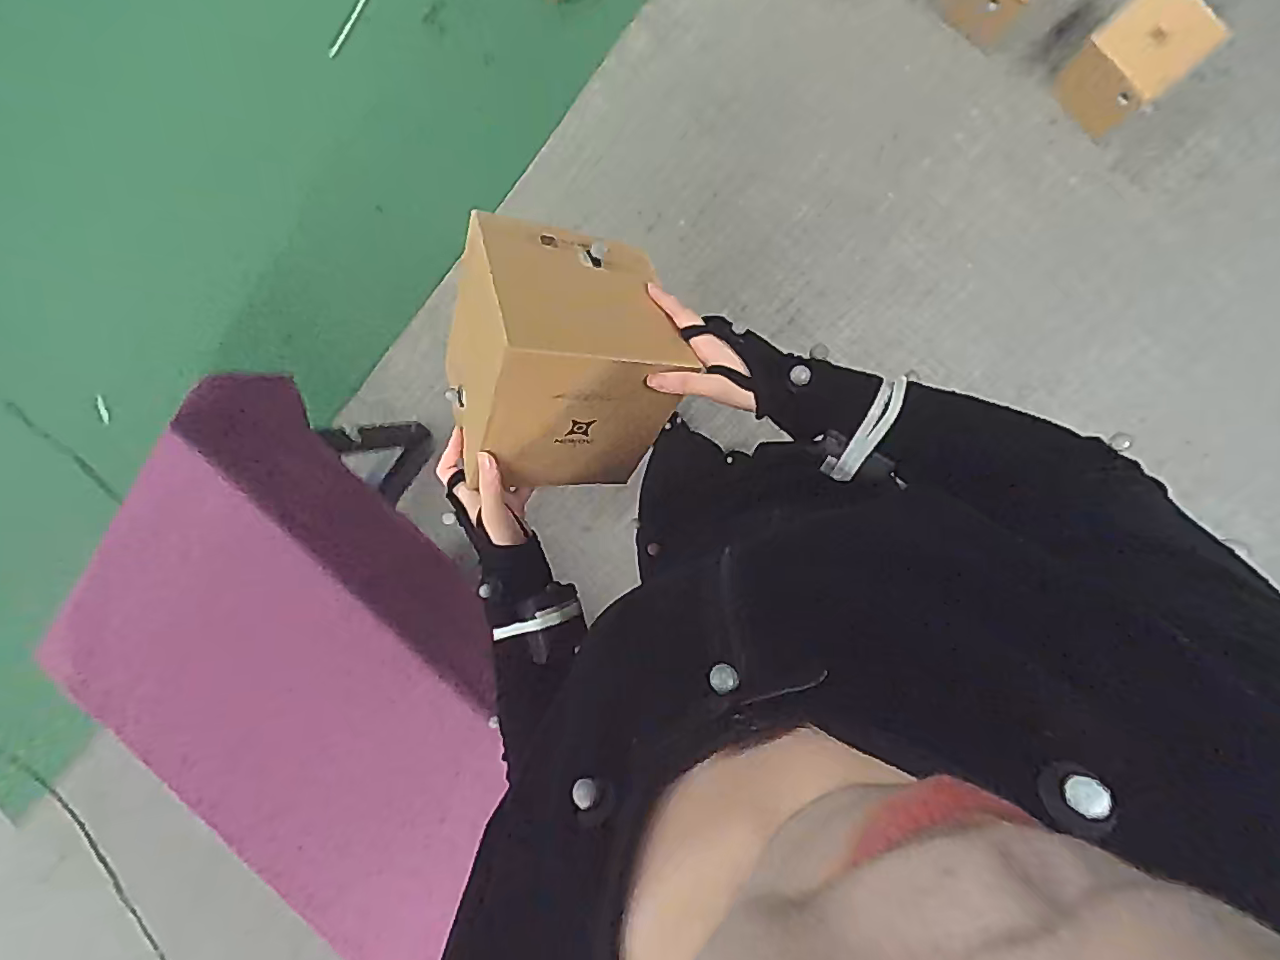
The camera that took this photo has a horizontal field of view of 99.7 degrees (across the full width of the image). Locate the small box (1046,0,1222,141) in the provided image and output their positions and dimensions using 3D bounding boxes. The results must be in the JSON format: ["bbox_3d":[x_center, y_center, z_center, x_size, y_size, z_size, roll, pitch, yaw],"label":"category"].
[{"bbox_3d":[1.005,-0.857,1.124,0.168,0.176,0.179,-42,89,13],"label":"small box"}]

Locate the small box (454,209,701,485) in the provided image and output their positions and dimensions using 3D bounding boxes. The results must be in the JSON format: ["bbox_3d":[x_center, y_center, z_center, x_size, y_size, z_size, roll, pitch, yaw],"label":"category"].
[{"bbox_3d":[-0.073,-0.112,0.508,0.179,0.168,0.176,-54,45,46],"label":"small box"}]
